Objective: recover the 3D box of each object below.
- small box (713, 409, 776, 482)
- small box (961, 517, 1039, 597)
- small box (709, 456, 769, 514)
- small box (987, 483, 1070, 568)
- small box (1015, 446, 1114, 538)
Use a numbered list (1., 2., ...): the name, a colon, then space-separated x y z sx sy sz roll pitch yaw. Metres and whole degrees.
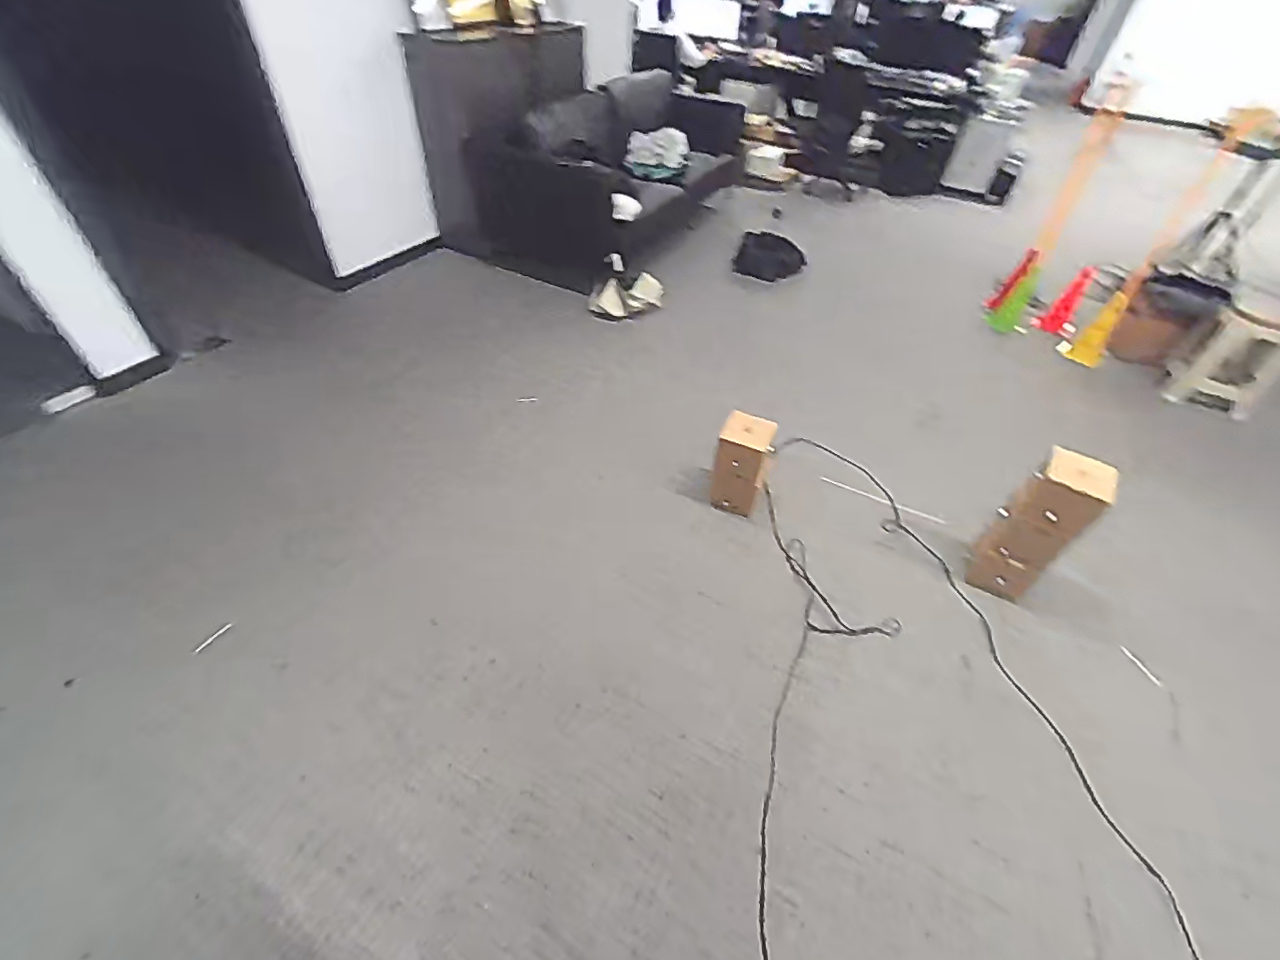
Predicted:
1. small box: 0.367 -0.121 1.926 0.168 0.176 0.179 21 47 16
2. small box: 1.221 0.265 1.836 0.168 0.176 0.179 24 50 14
3. small box: 0.371 -0.004 2.042 0.168 0.176 0.179 20 48 17
4. small box: 1.236 0.147 1.719 0.168 0.176 0.179 25 48 19
5. small box: 1.251 0.037 1.600 0.168 0.176 0.179 29 51 22
